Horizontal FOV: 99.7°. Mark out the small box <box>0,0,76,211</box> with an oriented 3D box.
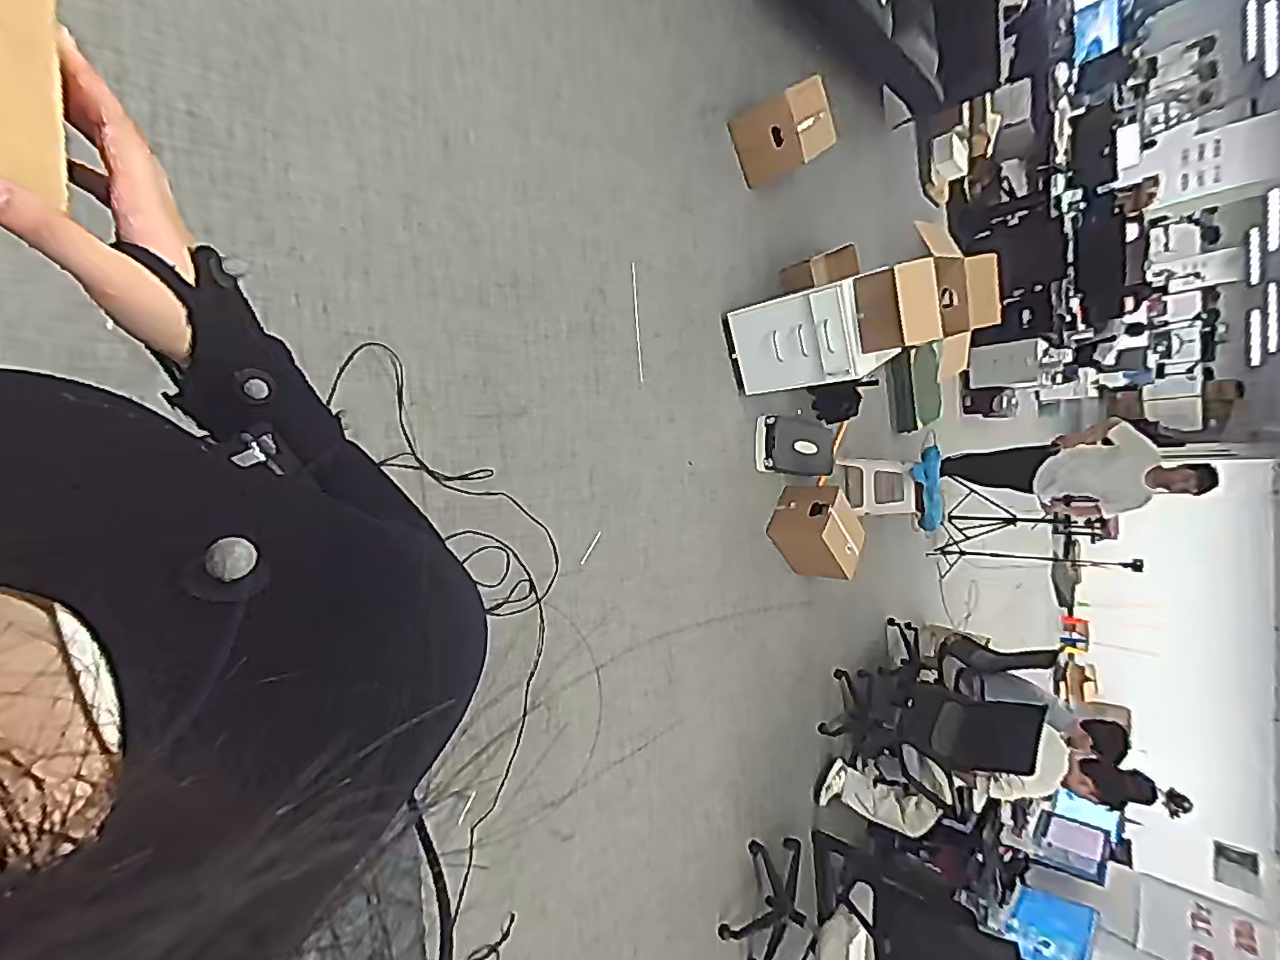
[{"bbox_3d":[-0.370,-0.231,0.232,0.168,0.176,0.179,-6,111,-49],"label":"small box"}]
